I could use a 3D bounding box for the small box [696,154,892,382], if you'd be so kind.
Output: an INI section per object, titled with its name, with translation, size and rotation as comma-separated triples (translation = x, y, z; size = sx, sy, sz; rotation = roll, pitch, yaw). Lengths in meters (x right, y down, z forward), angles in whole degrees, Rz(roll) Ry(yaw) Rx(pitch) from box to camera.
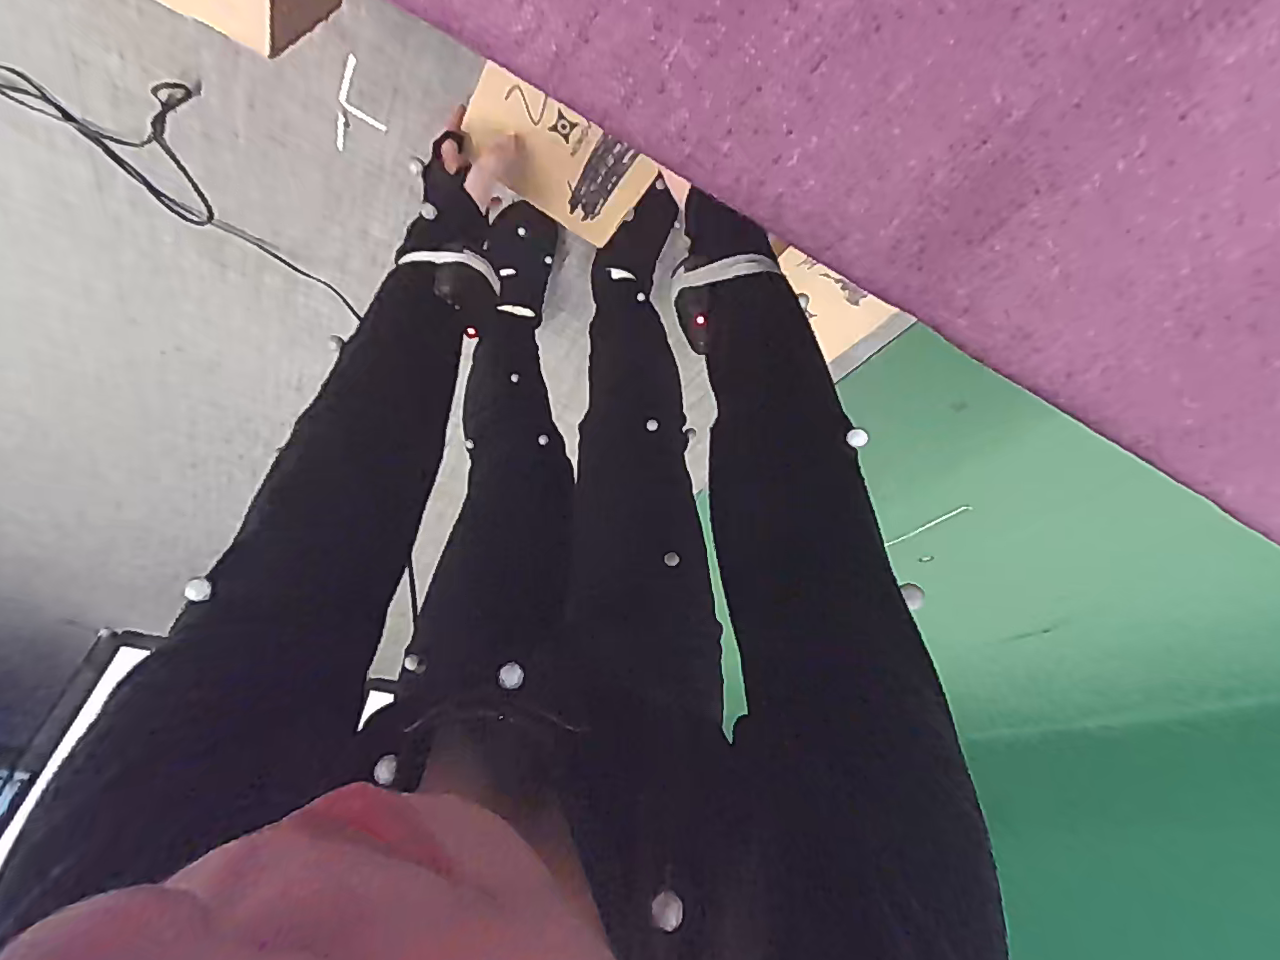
[small box]
translation = 0.191, -0.268, 0.703
size = 0.168, 0.176, 0.179
rotation = 24, 141, -29
